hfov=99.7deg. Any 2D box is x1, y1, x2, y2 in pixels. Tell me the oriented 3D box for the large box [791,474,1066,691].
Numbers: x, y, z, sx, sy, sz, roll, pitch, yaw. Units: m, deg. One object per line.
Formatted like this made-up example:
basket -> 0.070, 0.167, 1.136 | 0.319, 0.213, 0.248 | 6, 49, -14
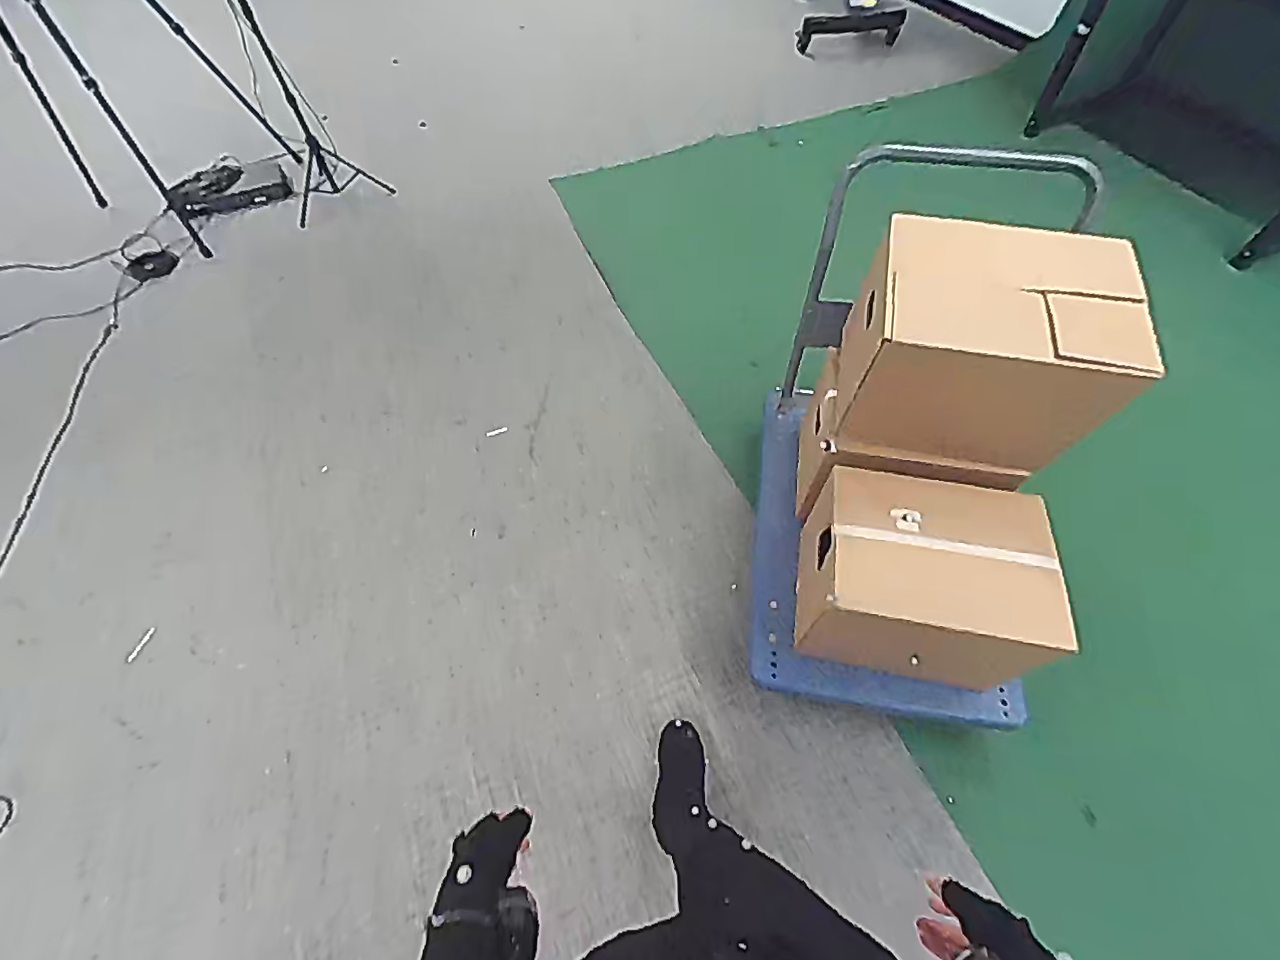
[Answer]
large box -> 0.555, 0.221, 1.130 | 0.408, 0.320, 0.320 | 9, 57, 8
